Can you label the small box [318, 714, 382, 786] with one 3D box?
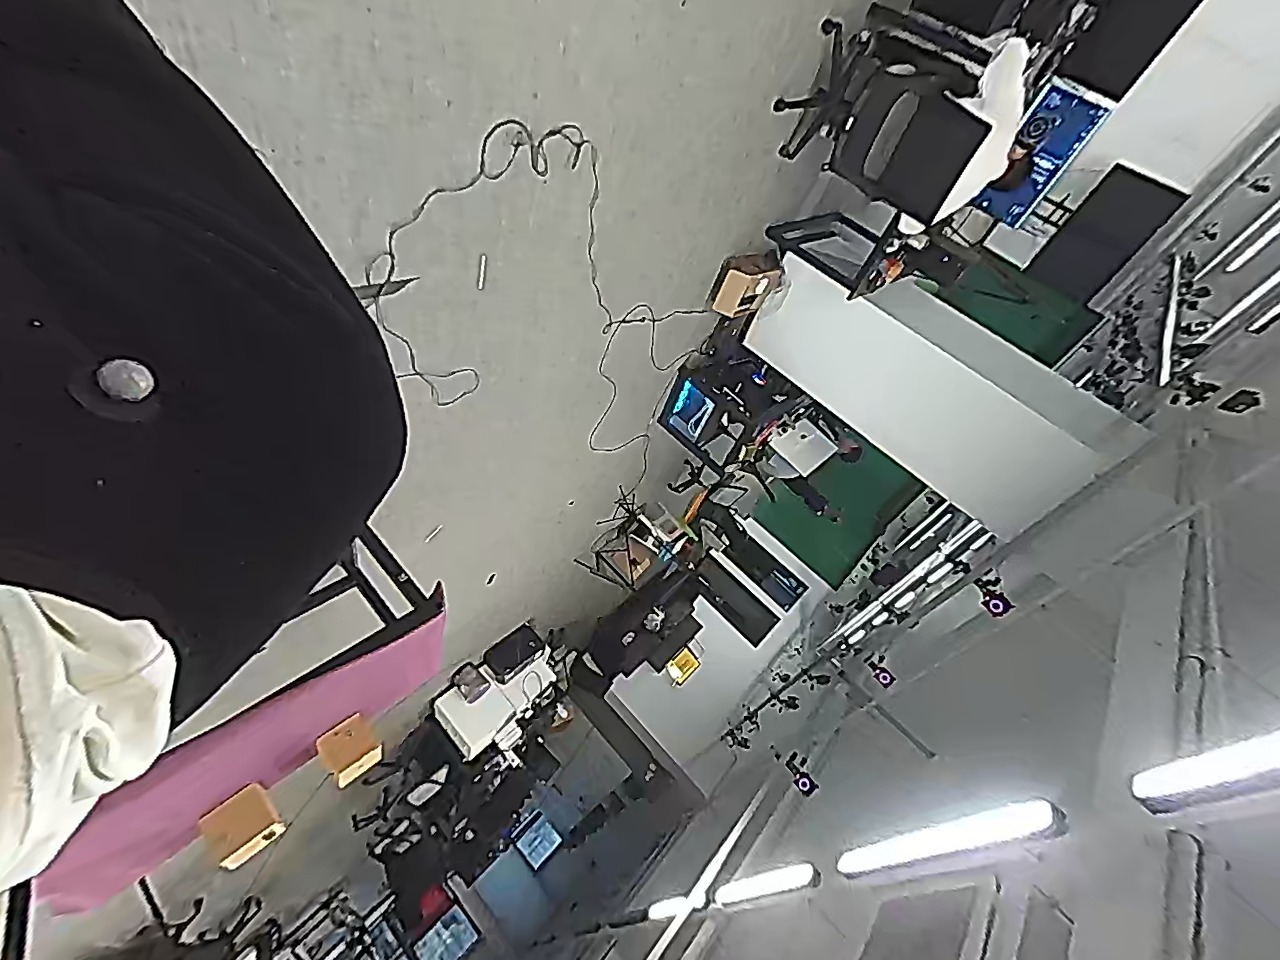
[{"bbox_3d":[-1.137,1.054,2.121,0.168,0.176,0.179,-30,155,-42],"label":"small box"}]
